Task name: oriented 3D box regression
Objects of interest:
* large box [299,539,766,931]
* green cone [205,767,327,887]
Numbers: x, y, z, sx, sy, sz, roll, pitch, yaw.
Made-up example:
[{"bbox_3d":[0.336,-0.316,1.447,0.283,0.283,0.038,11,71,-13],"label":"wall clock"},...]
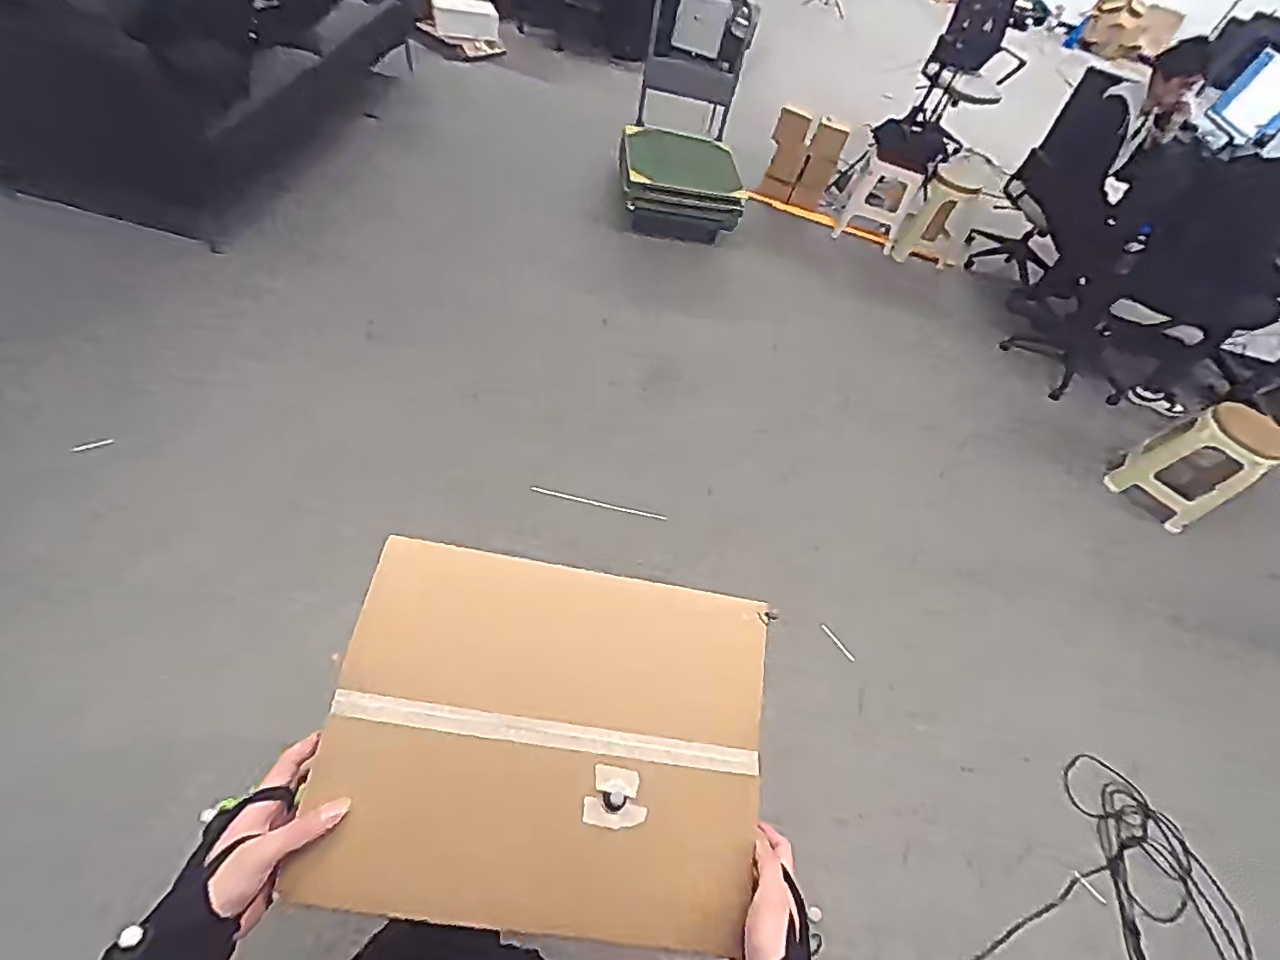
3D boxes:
[{"bbox_3d":[-0.099,0.285,0.661,0.408,0.320,0.320,11,70,-6],"label":"large box"},{"bbox_3d":[-0.772,0.692,1.091,0.200,0.368,0.202,18,55,0],"label":"green cone"}]
